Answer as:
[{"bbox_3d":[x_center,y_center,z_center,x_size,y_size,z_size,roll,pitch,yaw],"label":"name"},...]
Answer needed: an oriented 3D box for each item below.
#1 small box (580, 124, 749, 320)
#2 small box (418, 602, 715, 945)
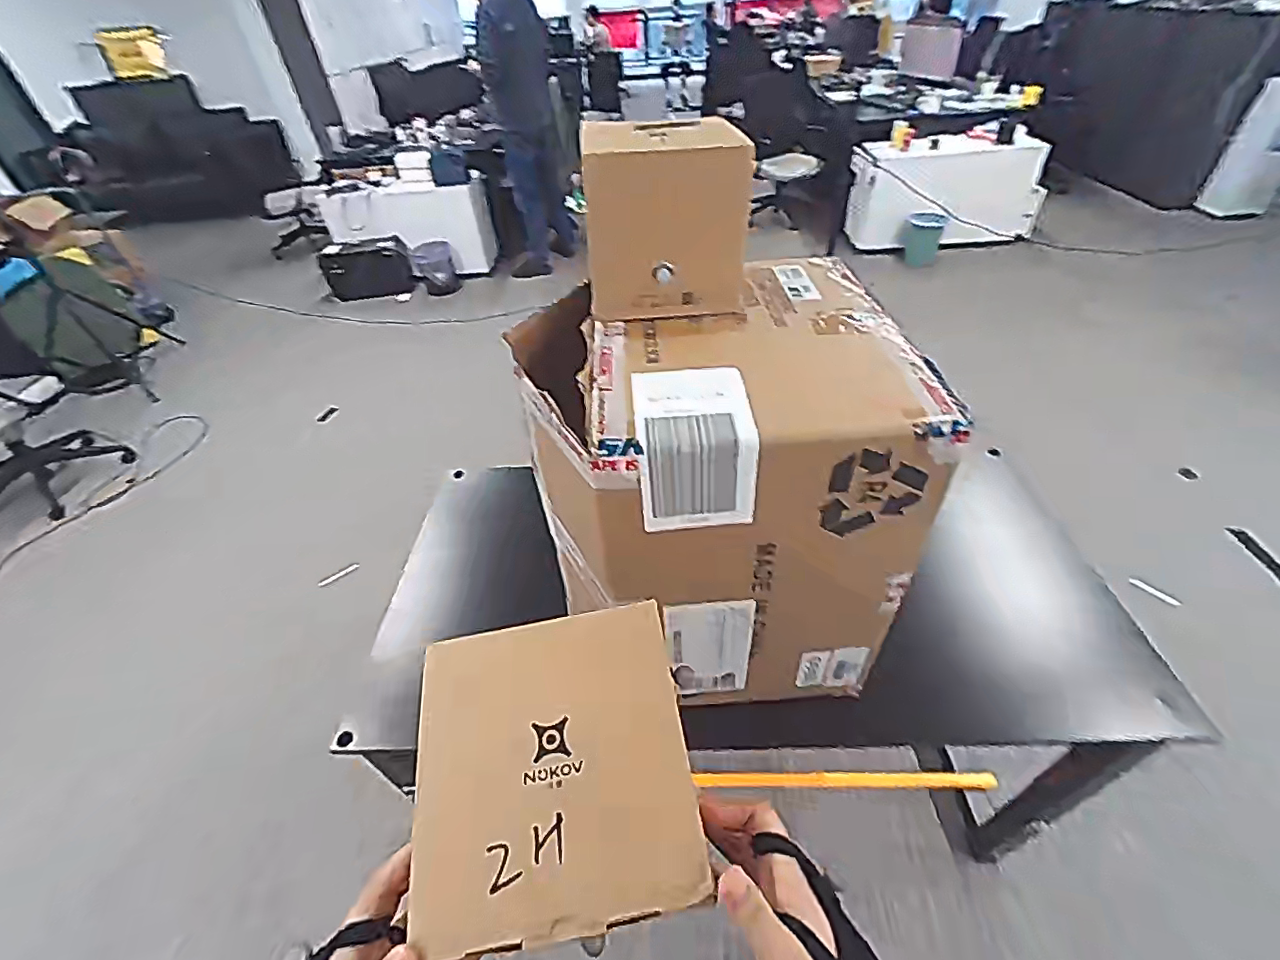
[{"bbox_3d":[0.021,-0.302,0.630,0.168,0.176,0.179,-5,41,-2],"label":"small box"},{"bbox_3d":[-0.046,0.217,0.406,0.168,0.176,0.179,-10,54,-2],"label":"small box"}]
